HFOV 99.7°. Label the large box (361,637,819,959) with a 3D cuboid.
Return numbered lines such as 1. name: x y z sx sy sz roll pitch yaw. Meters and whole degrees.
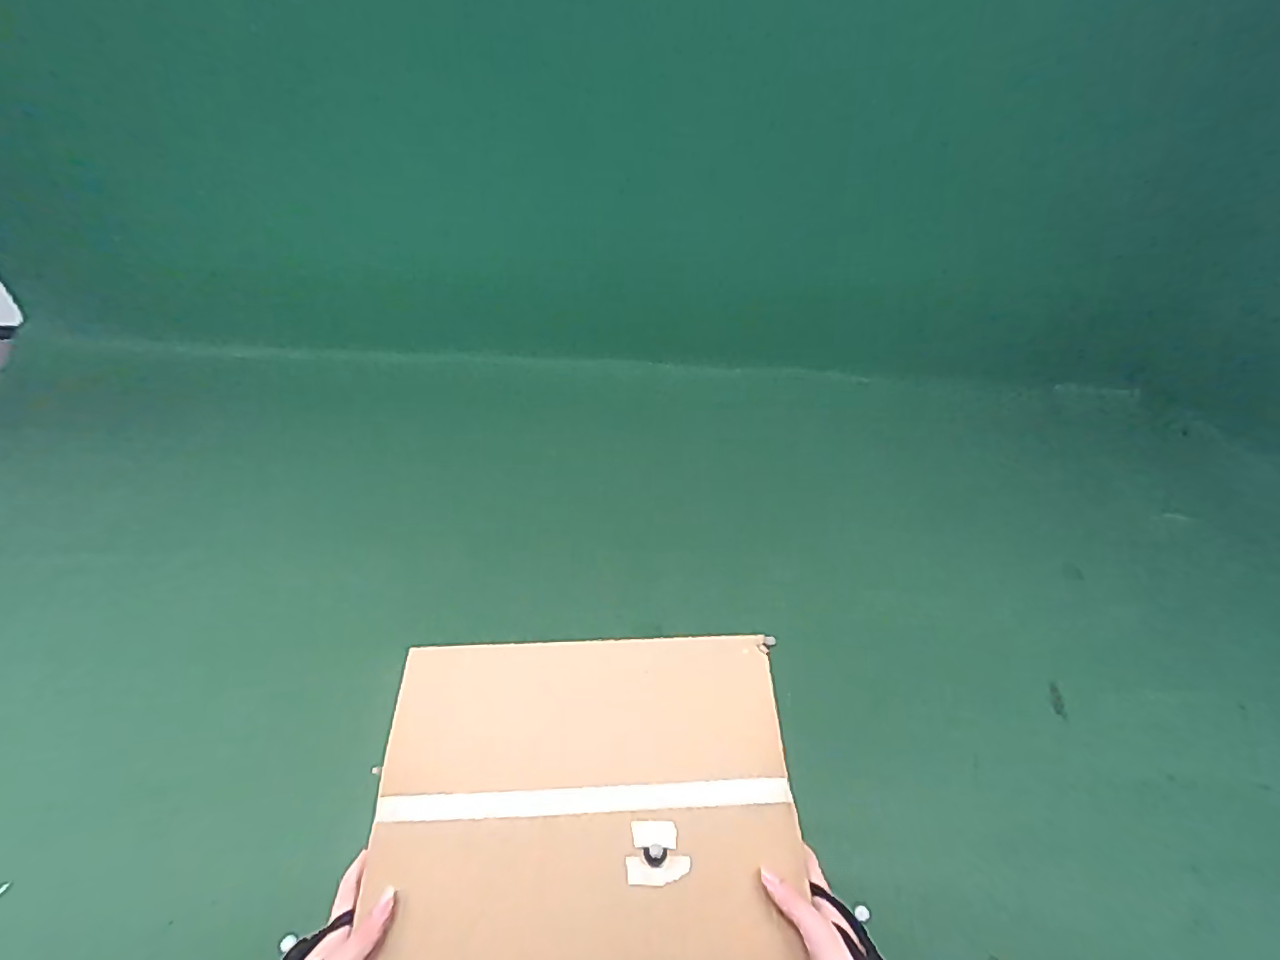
1. large box: -0.053 0.403 0.658 0.408 0.320 0.320 -2 56 -2
